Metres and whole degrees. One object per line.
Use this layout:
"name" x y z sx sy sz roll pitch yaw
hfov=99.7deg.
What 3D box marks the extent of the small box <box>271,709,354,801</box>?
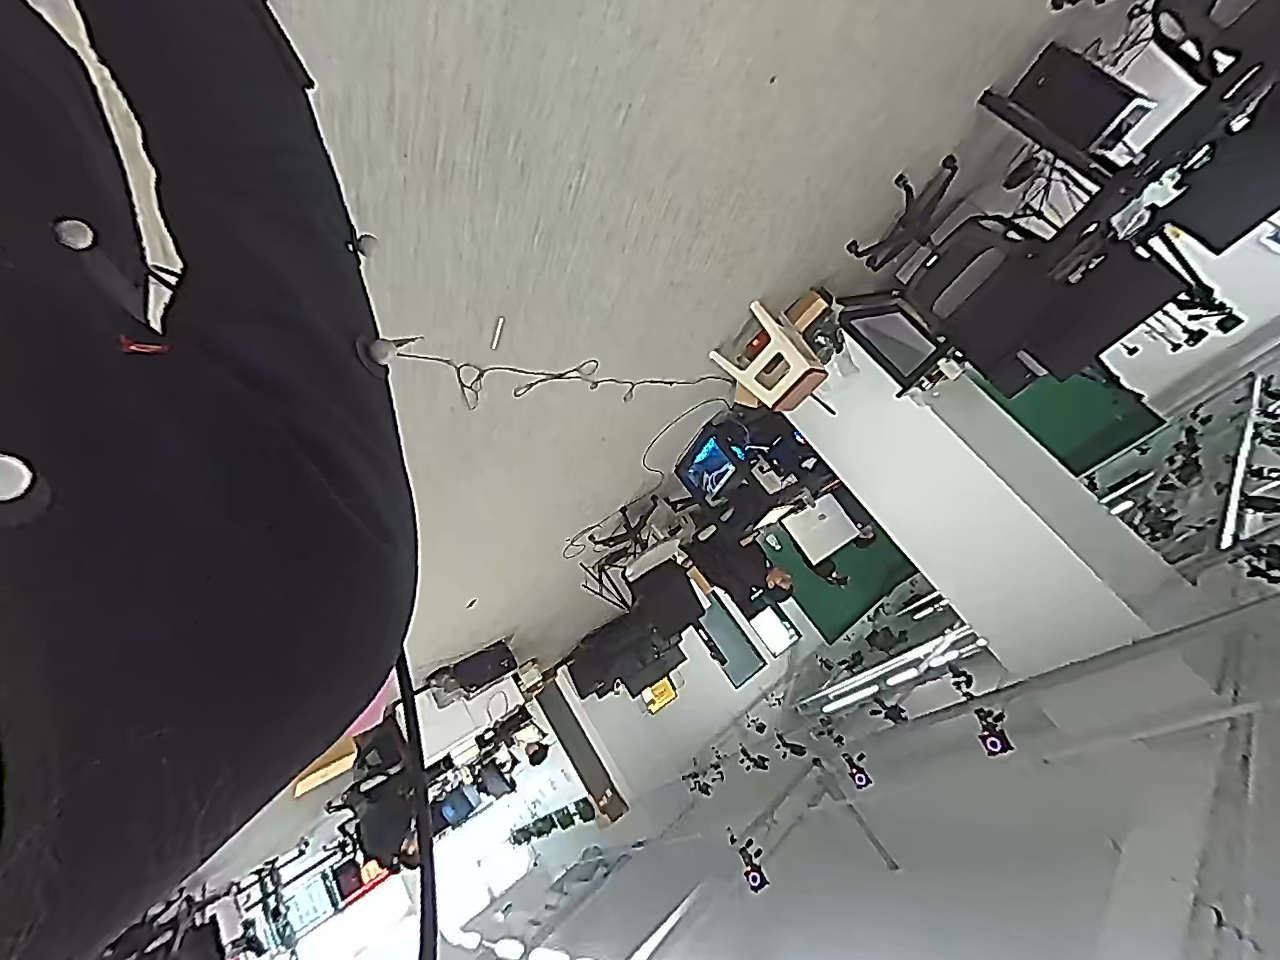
"small box" -1.005 0.835 1.652 0.168 0.176 0.179 -17 152 -46
